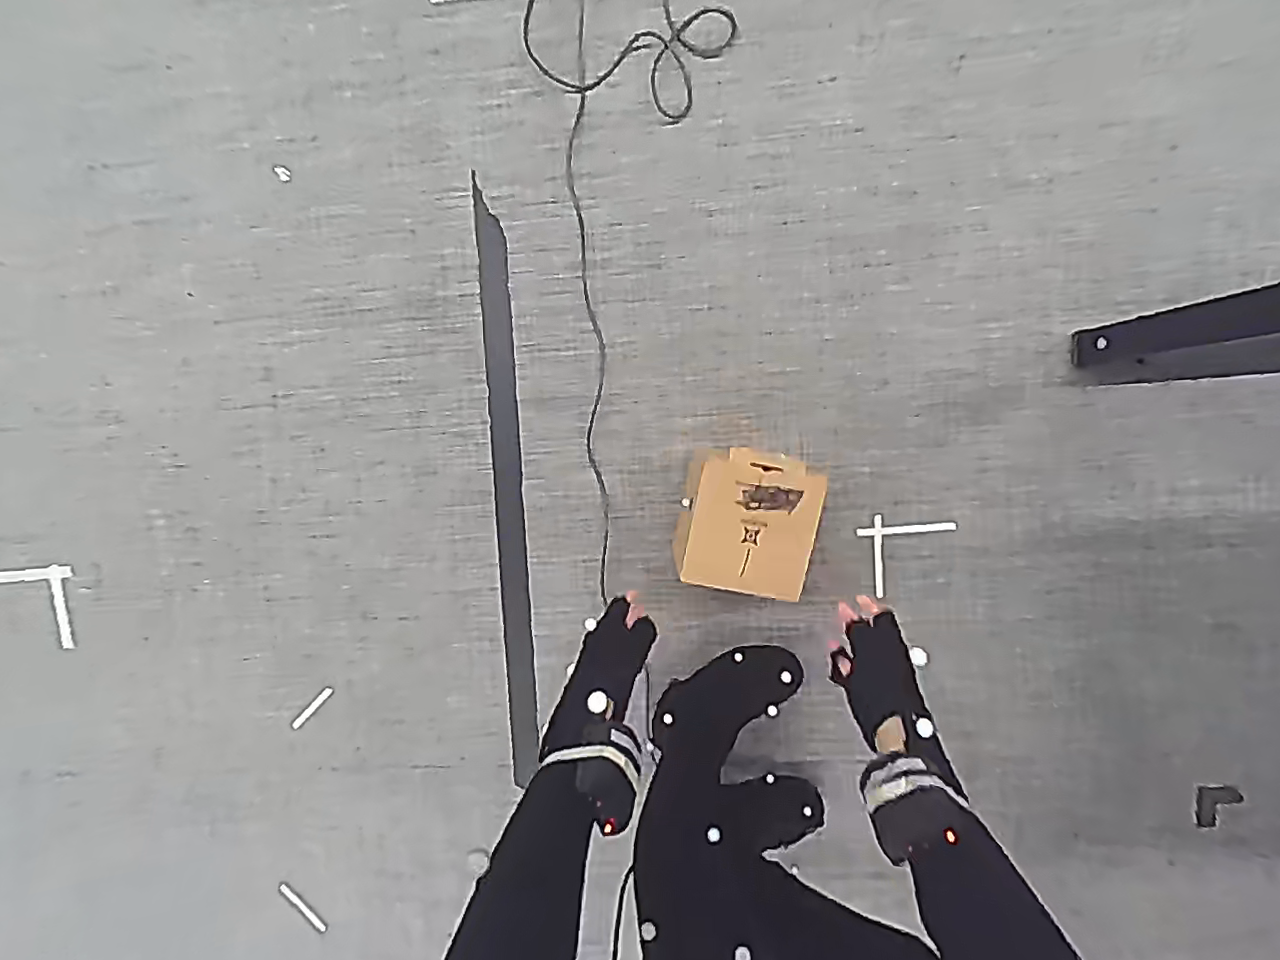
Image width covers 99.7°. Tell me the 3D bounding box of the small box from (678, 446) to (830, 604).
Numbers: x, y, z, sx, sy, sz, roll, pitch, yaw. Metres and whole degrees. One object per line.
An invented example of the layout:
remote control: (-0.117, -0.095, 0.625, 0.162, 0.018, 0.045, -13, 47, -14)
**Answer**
small box: (0.152, 0.054, 0.787, 0.168, 0.176, 0.179, 12, 100, 1)
